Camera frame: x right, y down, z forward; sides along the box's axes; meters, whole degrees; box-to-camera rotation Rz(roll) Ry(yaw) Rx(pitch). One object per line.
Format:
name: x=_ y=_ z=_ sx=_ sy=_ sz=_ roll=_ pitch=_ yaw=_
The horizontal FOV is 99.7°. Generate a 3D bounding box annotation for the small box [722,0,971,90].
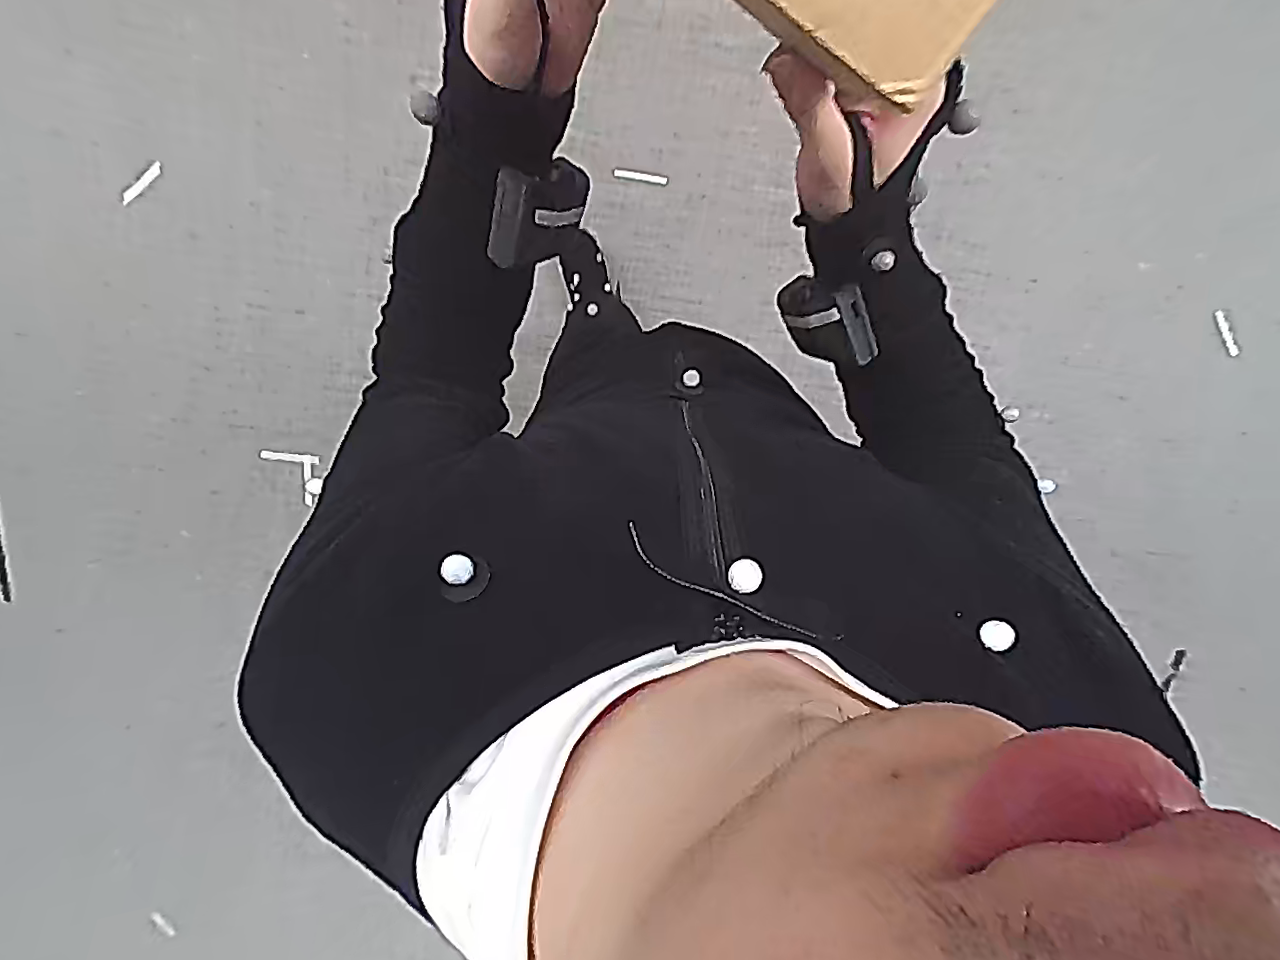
small box: x=0.048 y=-0.243 z=0.143 sx=0.179 sy=0.176 sz=0.168 roll=29 pitch=129 yaw=-12
